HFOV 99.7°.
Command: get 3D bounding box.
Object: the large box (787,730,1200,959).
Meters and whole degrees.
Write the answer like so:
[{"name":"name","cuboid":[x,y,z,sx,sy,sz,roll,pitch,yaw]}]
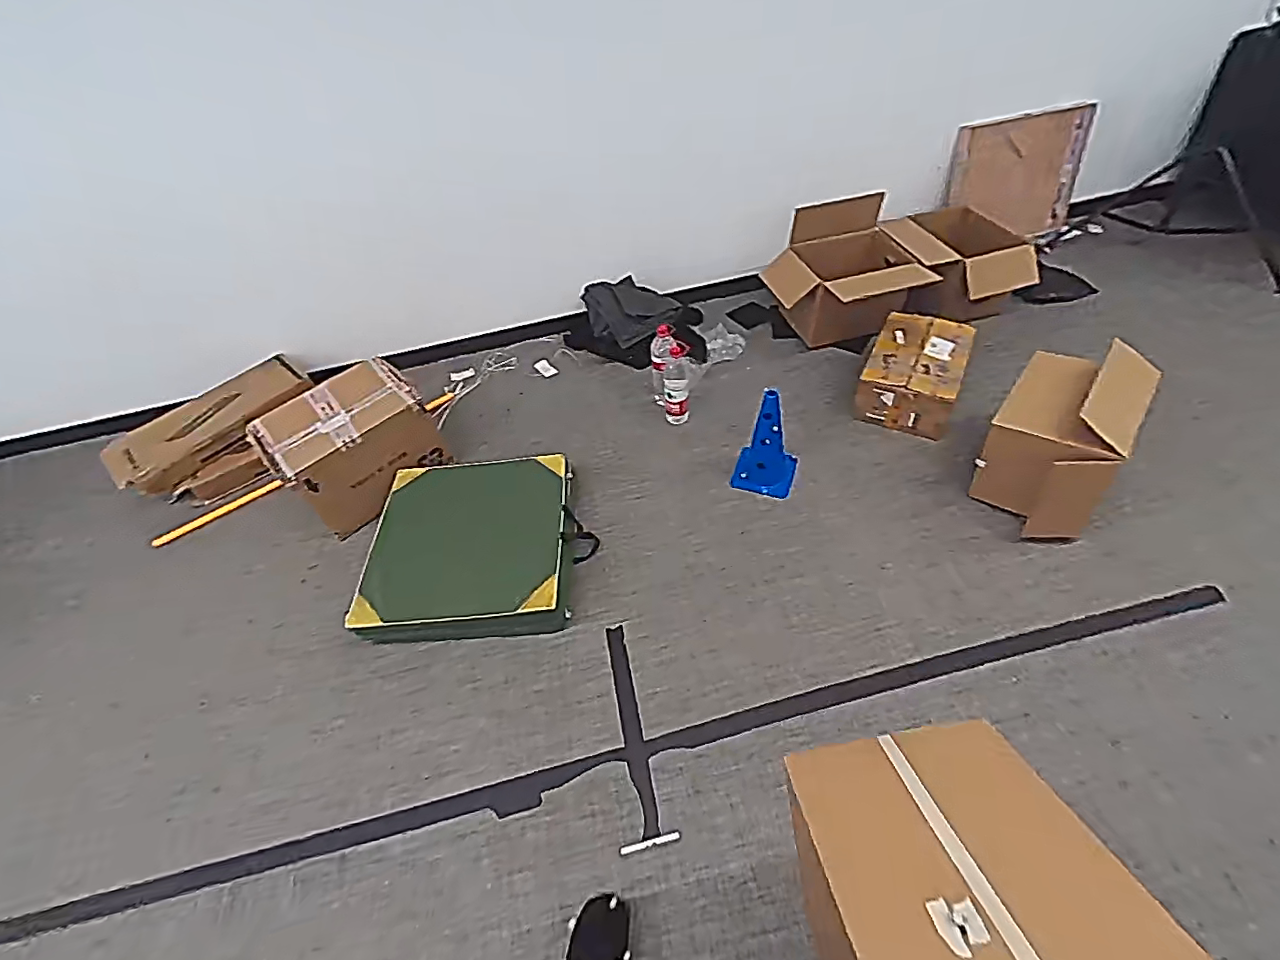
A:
[{"name":"large box","cuboid":[0.406,0.595,0.665,0.320,0.320,0.408,-12,16,1]}]
